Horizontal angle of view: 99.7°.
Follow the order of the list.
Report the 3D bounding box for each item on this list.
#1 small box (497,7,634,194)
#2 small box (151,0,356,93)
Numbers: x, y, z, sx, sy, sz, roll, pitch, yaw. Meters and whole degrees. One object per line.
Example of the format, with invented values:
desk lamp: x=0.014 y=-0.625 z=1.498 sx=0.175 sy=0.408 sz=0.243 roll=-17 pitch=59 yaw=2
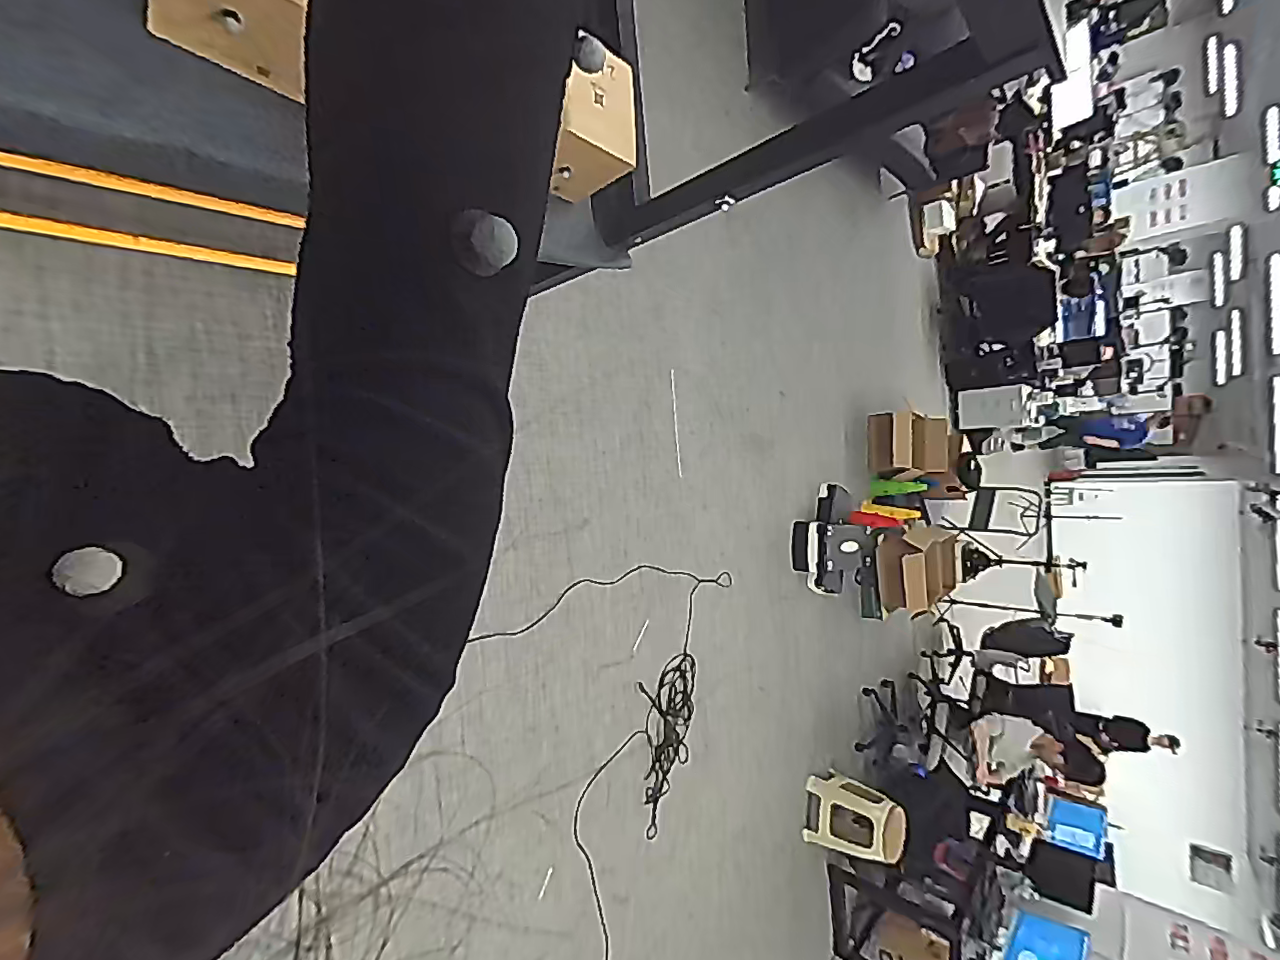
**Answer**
small box: x=-0.129 y=-0.625 z=0.924 sx=0.168 sy=0.176 sz=0.179 roll=-3 pitch=91 yaw=-47
small box: x=-0.432 y=-0.590 z=0.605 sx=0.168 sy=0.176 sz=0.179 roll=2 pitch=88 yaw=-47
